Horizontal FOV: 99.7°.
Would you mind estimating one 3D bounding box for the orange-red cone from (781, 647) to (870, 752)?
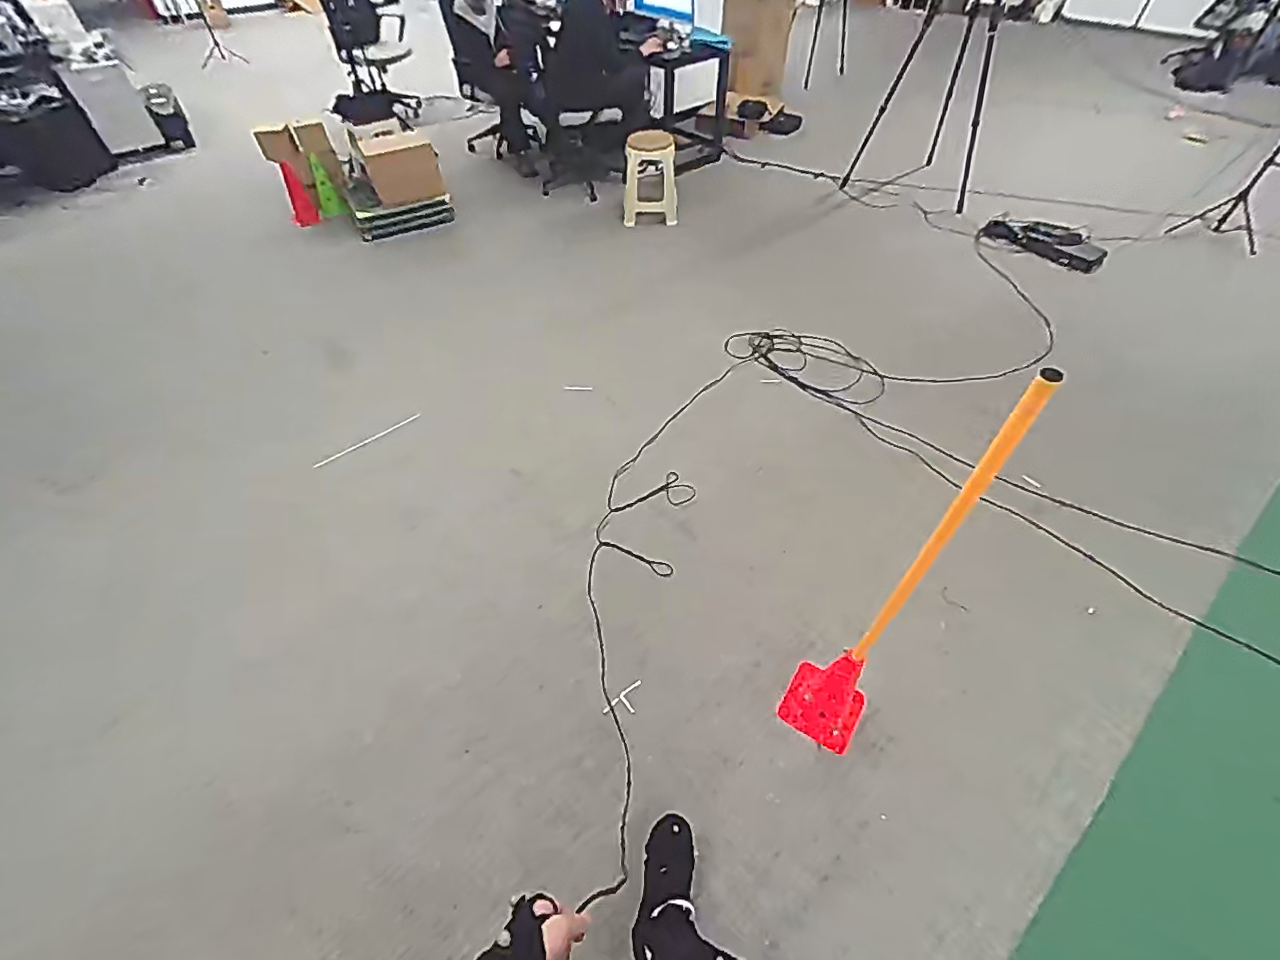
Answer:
[{"bbox_3d":[0.521,0.523,1.401,0.198,0.360,0.199,28,54,23],"label":"orange-red cone"}]
